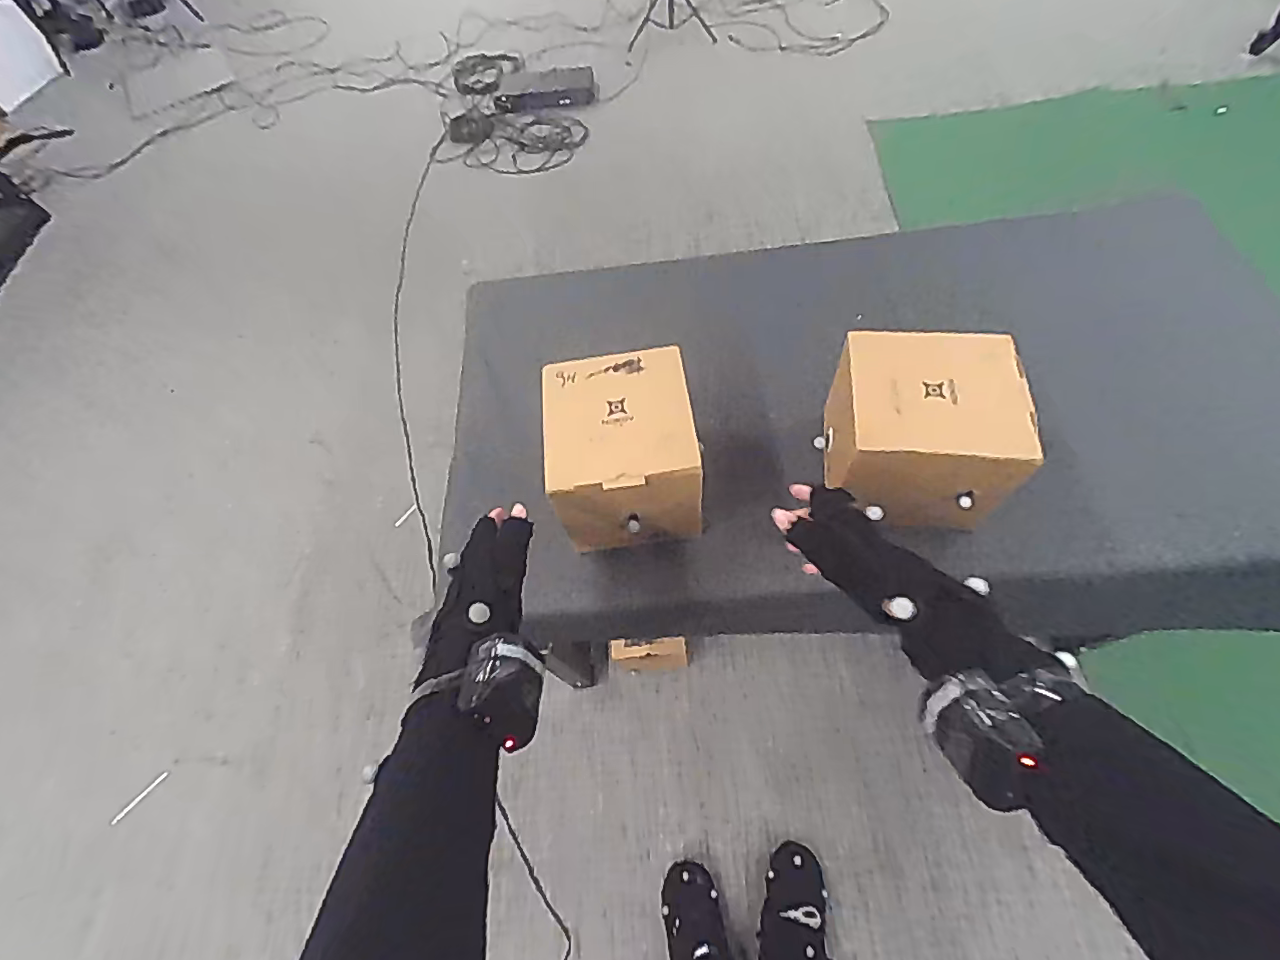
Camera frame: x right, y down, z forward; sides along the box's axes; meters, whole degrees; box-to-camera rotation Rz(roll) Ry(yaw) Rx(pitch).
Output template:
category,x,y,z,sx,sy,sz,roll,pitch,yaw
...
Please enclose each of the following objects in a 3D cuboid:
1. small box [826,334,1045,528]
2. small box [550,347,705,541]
category,x,y,z,sx,sy,sz,roll,pitch,yaw
small box,0.328,-0.052,0.642,0.179,0.176,0.168,3,61,10
small box,-0.011,-0.034,0.670,0.168,0.176,0.179,-7,61,2
